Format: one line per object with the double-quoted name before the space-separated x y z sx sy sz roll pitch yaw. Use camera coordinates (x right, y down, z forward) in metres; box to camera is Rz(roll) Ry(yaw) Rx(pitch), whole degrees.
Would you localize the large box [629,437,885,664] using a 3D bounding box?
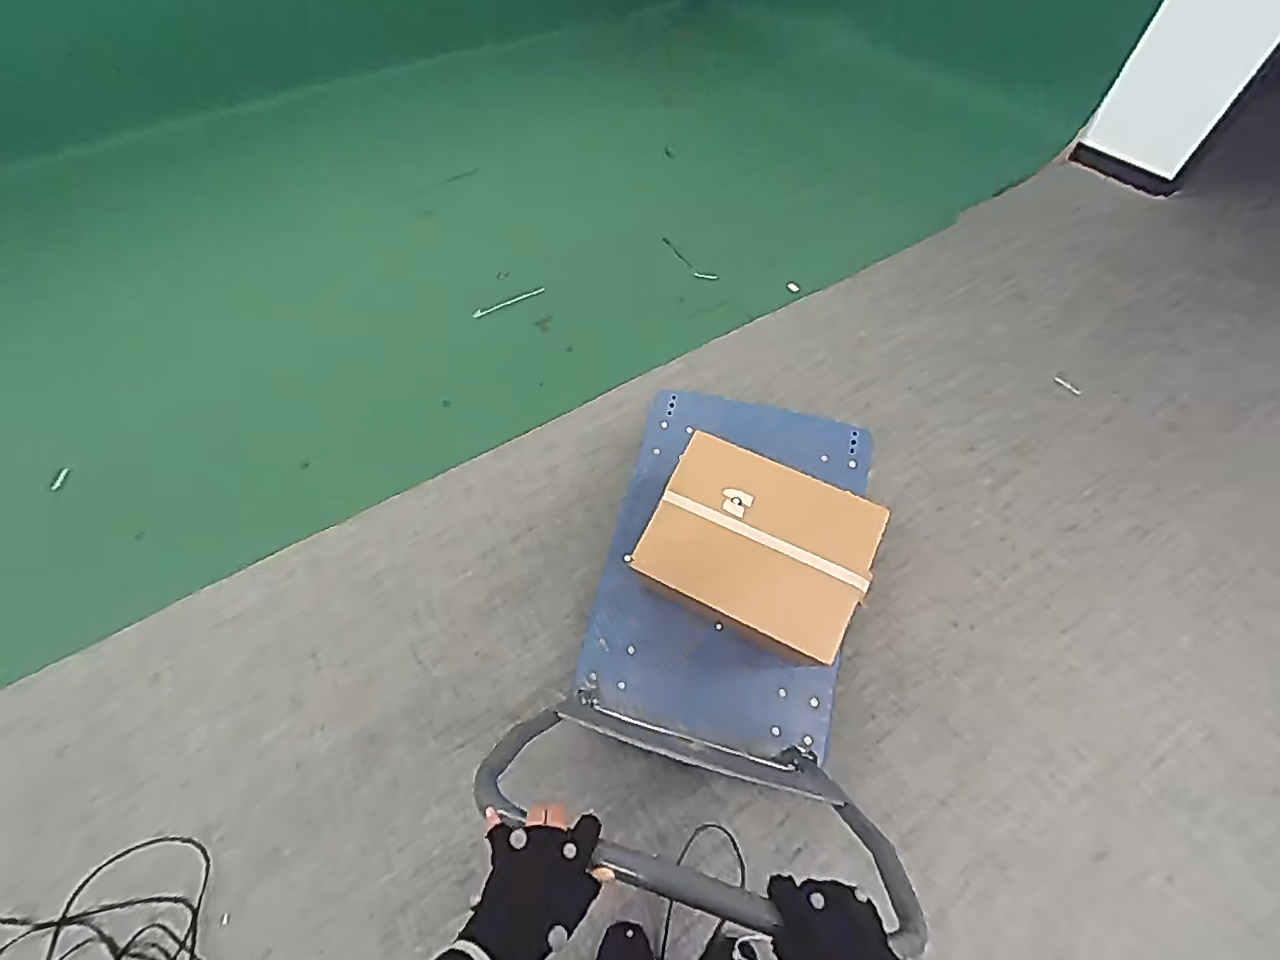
"large box" 0.238 0.163 1.163 0.408 0.320 0.320 25 75 14
